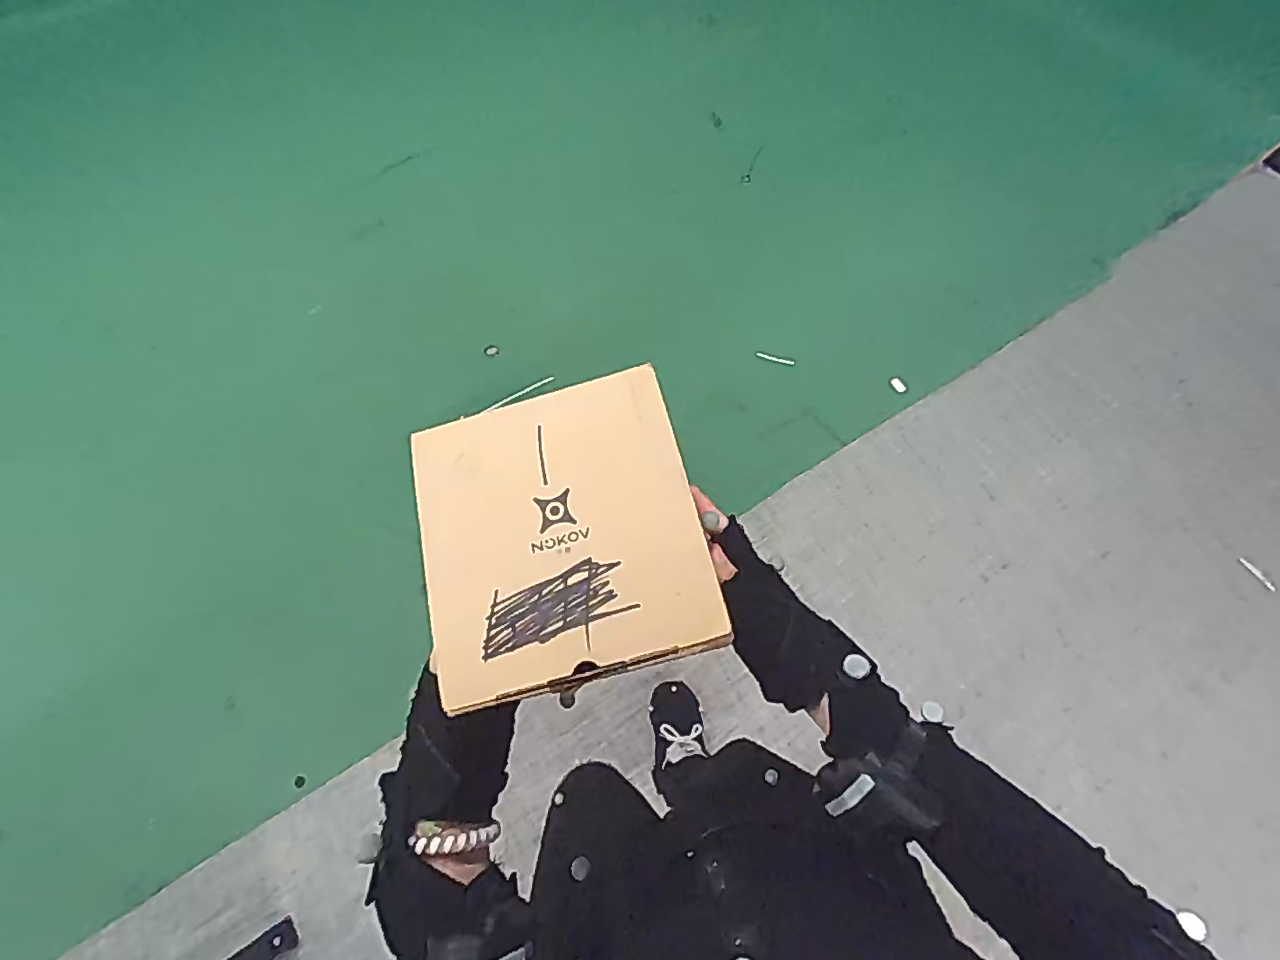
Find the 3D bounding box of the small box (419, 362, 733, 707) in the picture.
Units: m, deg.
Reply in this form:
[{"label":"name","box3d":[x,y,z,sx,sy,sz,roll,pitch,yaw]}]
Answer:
[{"label":"small box","box3d":[-0.035,0.049,0.394,0.168,0.176,0.179,-16,70,2]}]
